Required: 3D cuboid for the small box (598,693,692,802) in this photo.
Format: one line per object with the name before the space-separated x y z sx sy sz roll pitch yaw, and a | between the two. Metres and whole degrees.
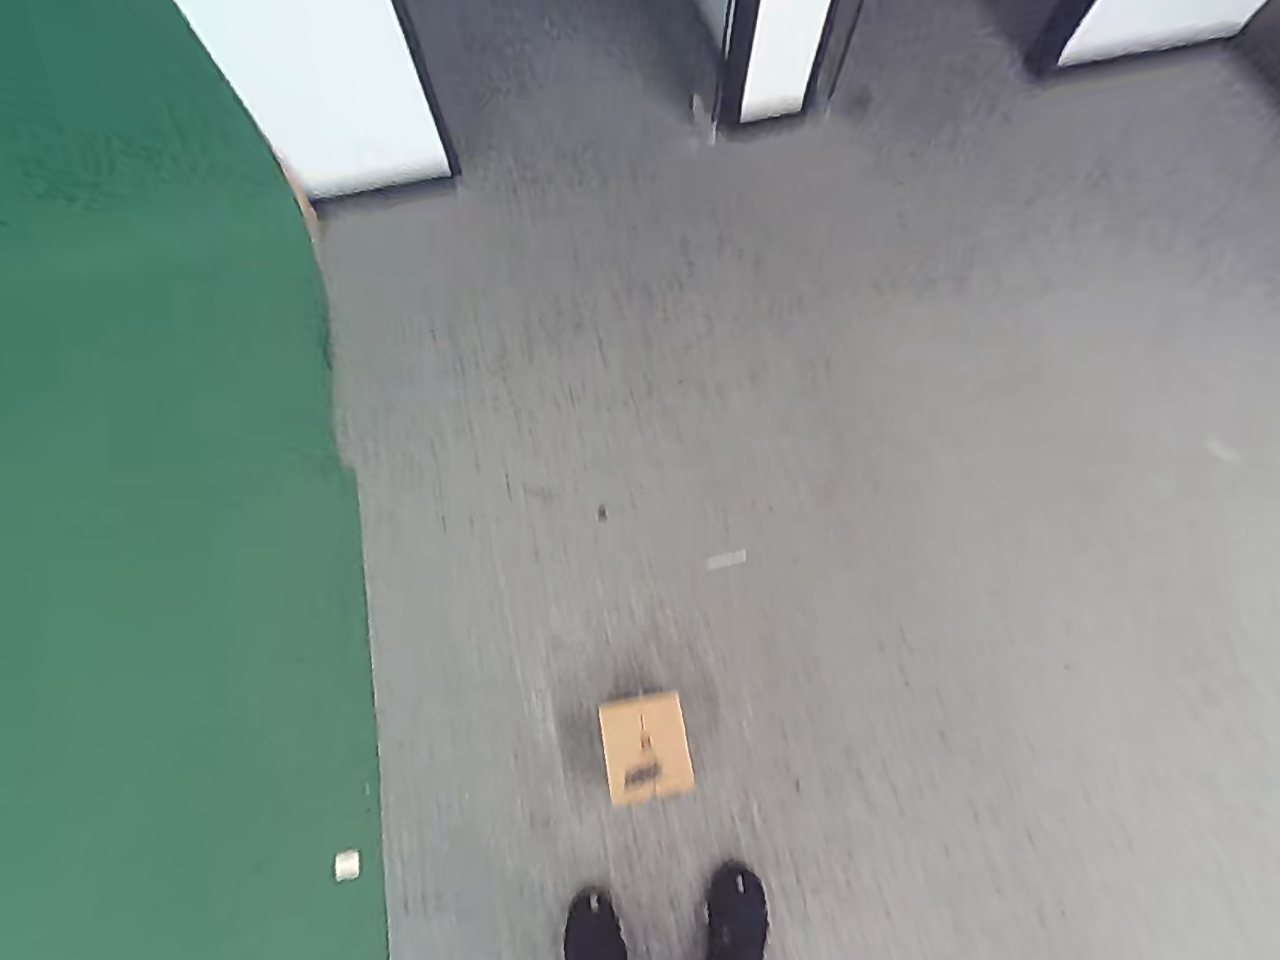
small box | 0.009 0.549 1.131 0.168 0.176 0.179 -8 68 -4
